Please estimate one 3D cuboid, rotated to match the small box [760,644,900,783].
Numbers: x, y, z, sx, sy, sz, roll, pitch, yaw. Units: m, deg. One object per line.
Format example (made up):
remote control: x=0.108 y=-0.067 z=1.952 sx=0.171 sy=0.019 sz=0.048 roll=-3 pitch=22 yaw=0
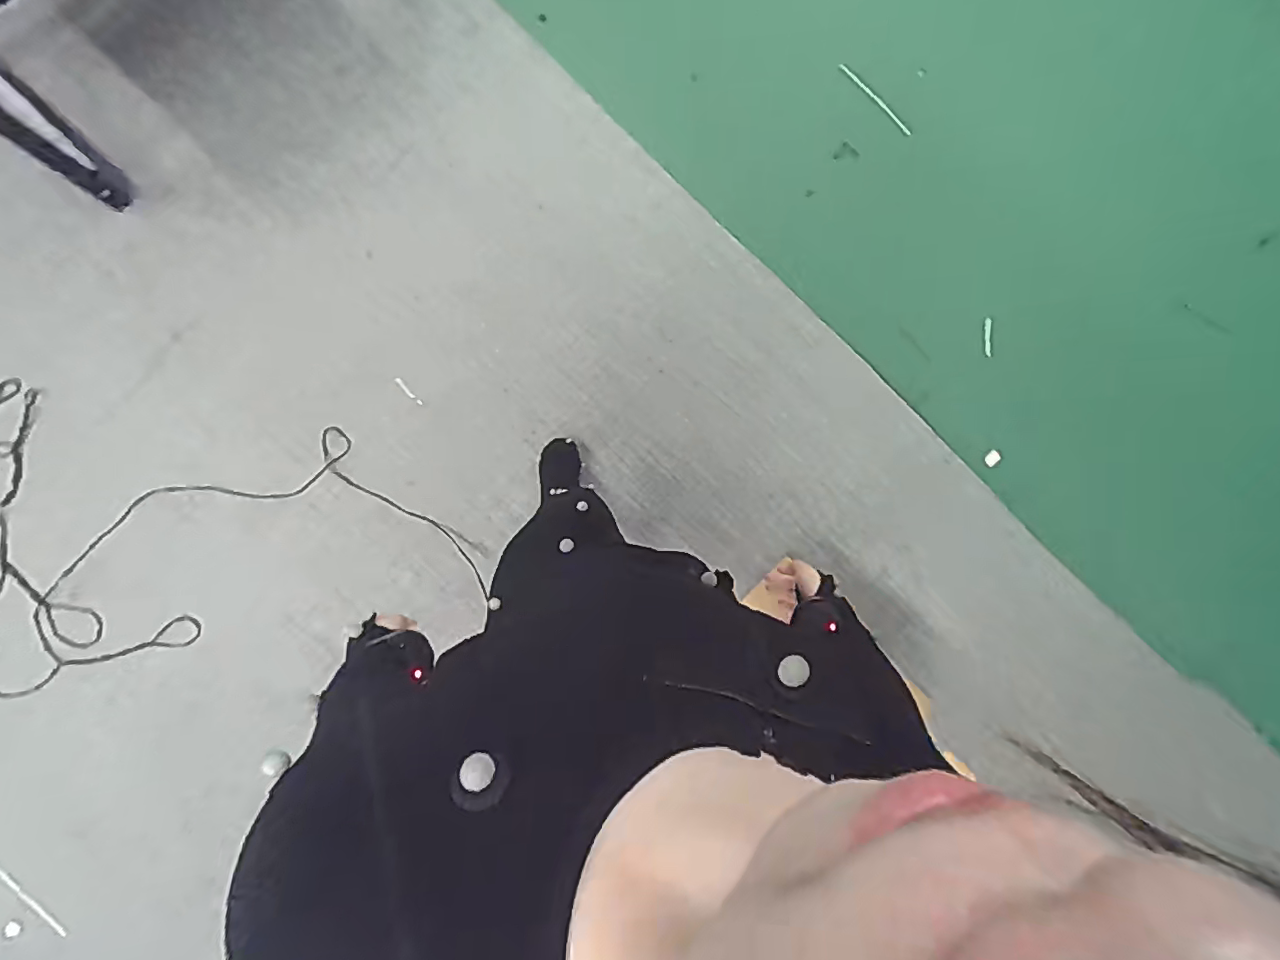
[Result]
small box: x=0.378 y=0.463 z=1.107 sx=0.168 sy=0.176 sz=0.179 roll=-44 pitch=87 yaw=-7
